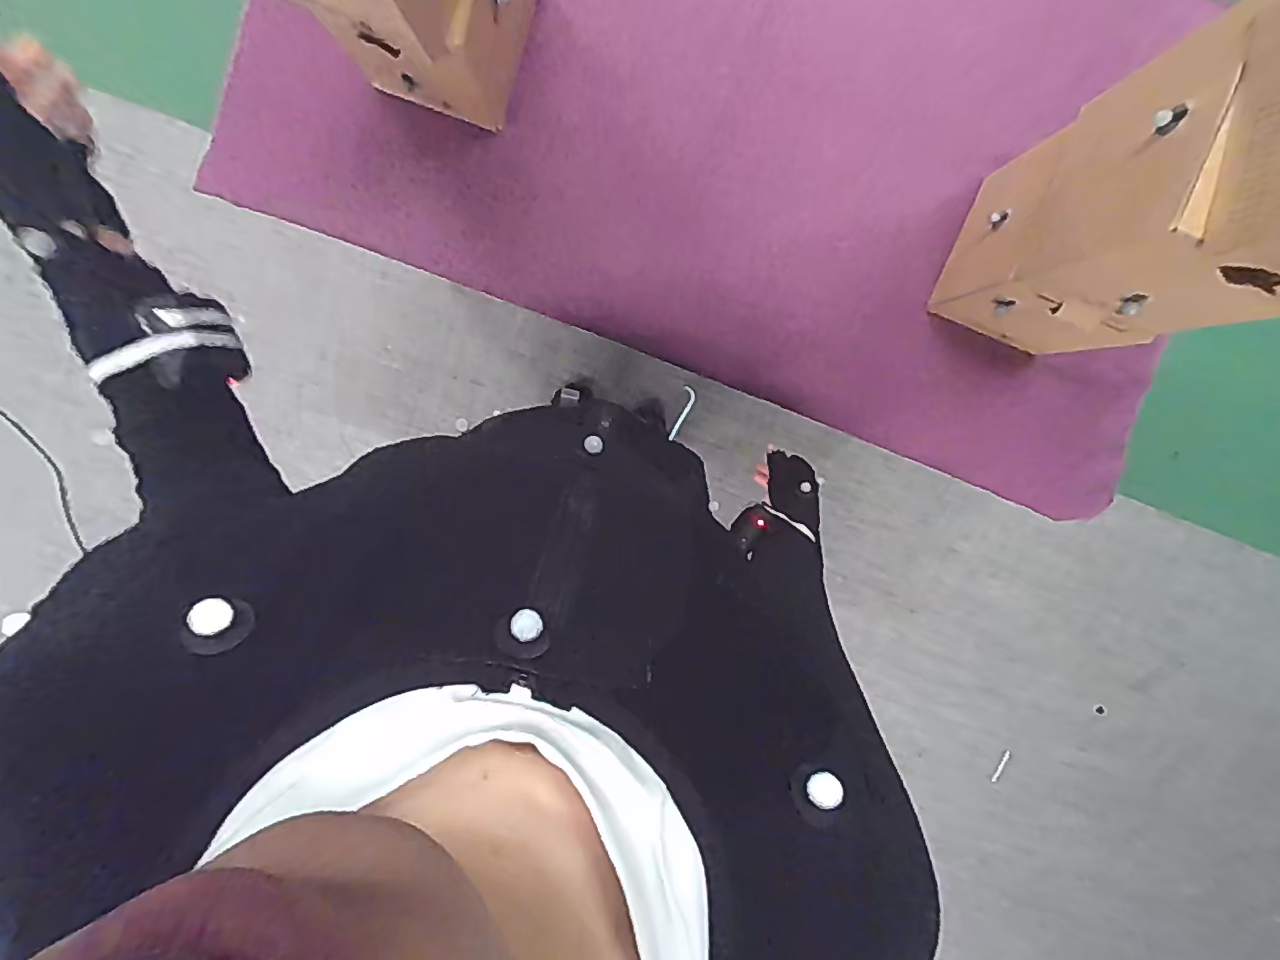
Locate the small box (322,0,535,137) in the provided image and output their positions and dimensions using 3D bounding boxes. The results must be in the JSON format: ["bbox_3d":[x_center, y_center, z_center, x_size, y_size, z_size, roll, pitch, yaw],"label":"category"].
[{"bbox_3d":[-0.221,-0.518,0.582,0.168,0.176,0.179,18,100,-4],"label":"small box"}]

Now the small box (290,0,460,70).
[{"bbox_3d":[-0.232,-0.478,0.422,0.168,0.176,0.179,23,99,-5],"label":"small box"}]

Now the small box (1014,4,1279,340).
[{"bbox_3d":[0.477,-0.237,0.469,0.168,0.176,0.179,18,98,-3],"label":"small box"}]
